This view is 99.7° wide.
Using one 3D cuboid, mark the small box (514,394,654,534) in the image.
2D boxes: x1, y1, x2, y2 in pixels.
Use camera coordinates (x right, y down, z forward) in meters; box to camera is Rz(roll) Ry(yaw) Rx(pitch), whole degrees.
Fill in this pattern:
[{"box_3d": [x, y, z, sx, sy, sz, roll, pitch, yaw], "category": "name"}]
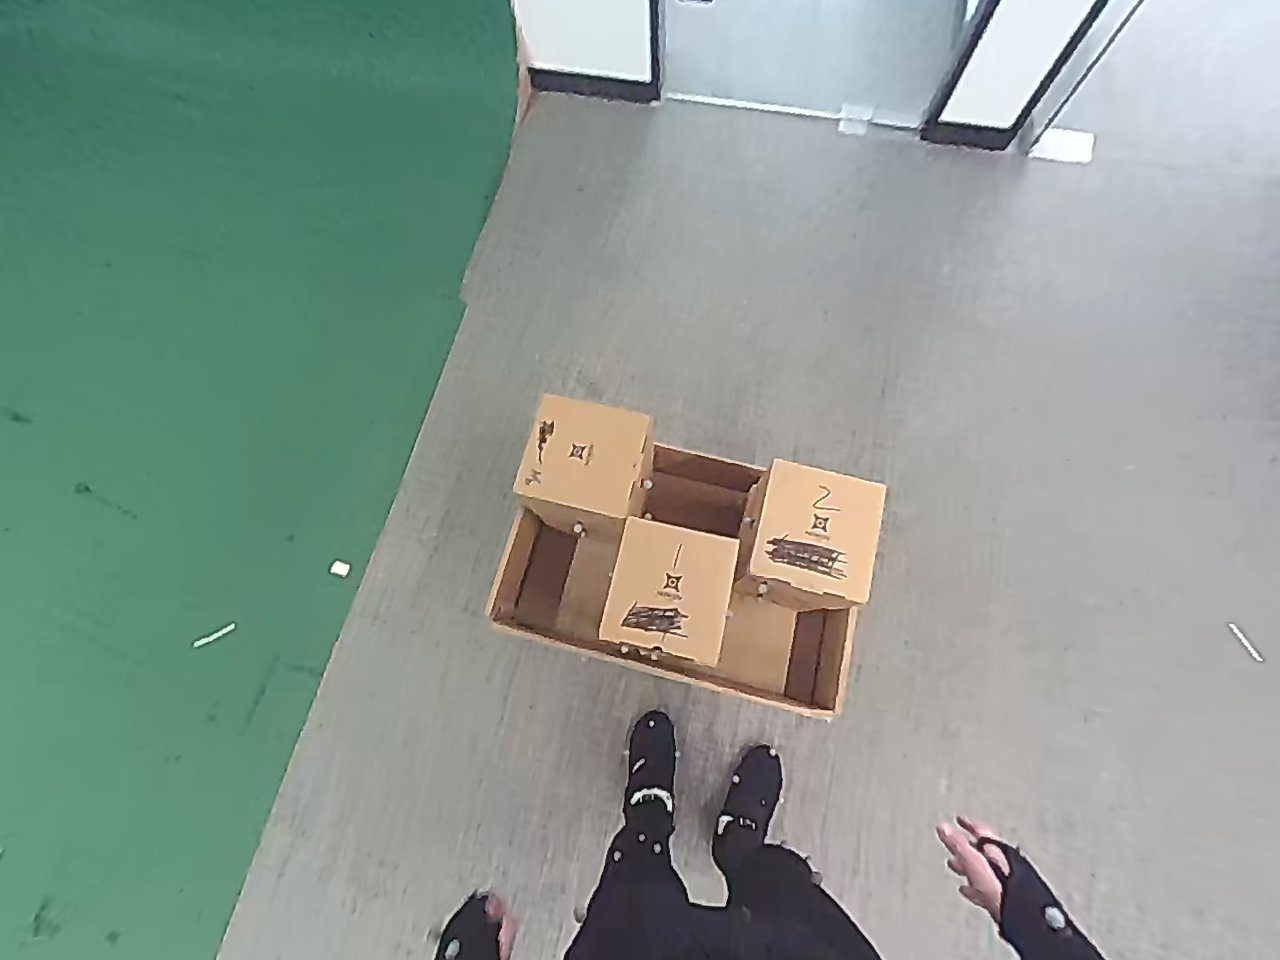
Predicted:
[{"box_3d": [-0.080, -0.016, 0.883, 0.179, 0.176, 0.168, 14, 75, 5], "category": "small box"}]
